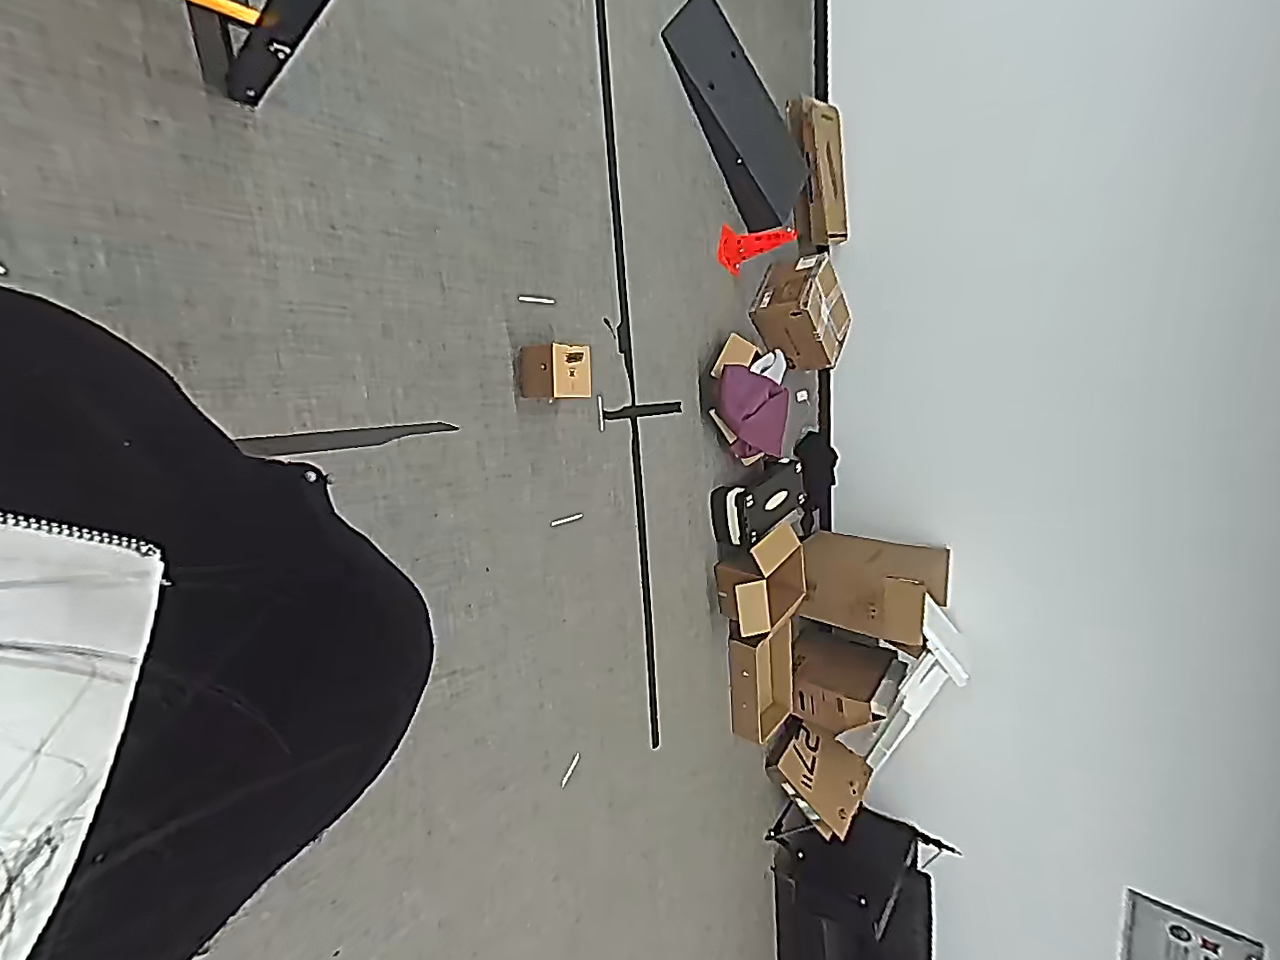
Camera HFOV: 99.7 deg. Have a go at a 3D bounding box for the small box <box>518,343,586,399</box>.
[{"bbox_3d":[-0.304,-0.369,1.855,0.168,0.176,0.179,-10,102,-48],"label":"small box"}]
